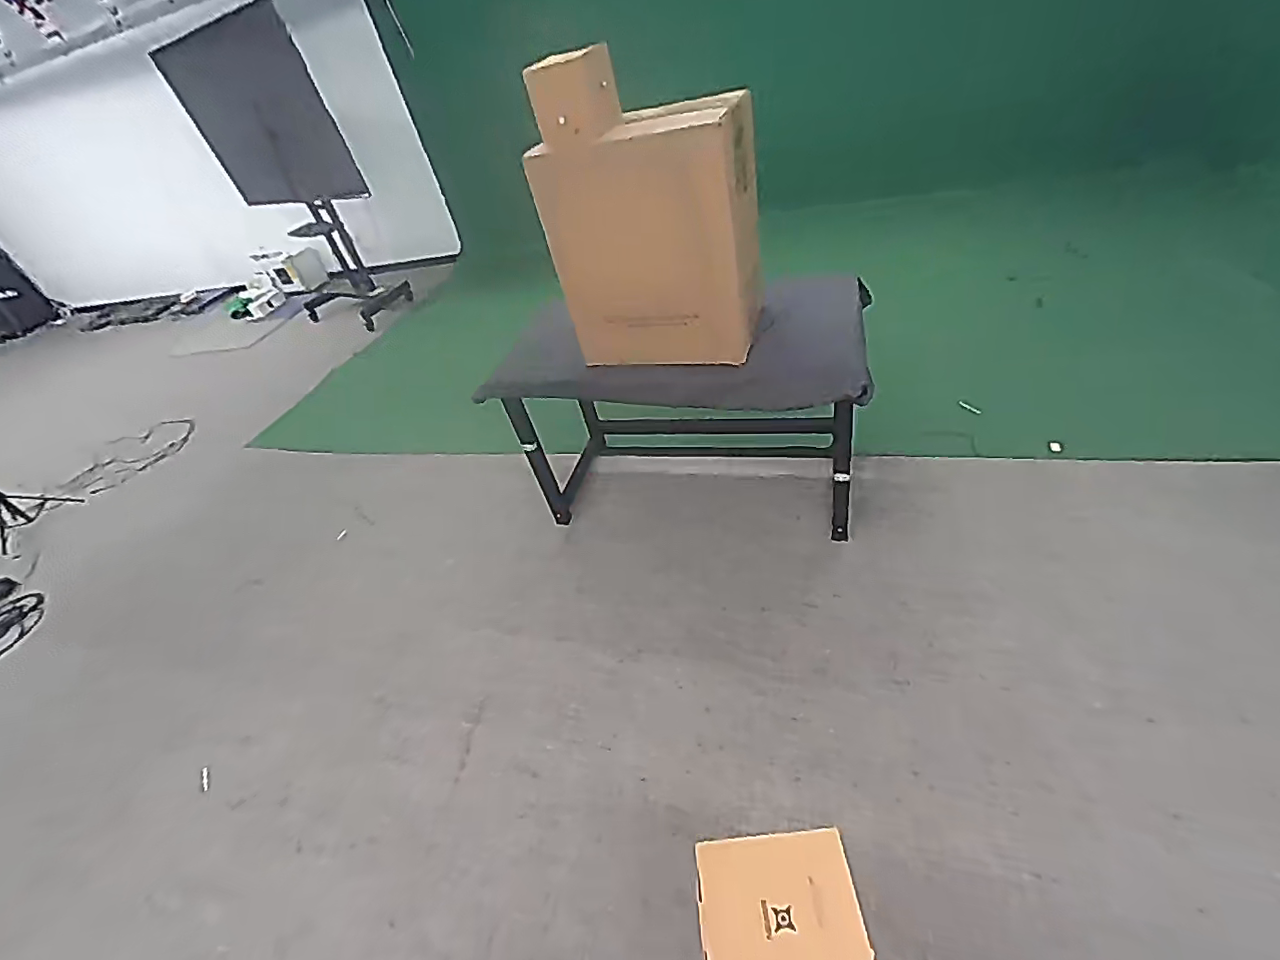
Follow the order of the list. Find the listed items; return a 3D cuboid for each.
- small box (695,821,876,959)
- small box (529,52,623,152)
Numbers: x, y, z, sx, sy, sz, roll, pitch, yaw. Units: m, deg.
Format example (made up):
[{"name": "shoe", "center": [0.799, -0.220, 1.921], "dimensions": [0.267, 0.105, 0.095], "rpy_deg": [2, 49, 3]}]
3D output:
[{"name": "small box", "center": [0.170, 0.538, 0.646], "dimensions": [0.179, 0.176, 0.168], "rpy_deg": [-9, 39, 4]}, {"name": "small box", "center": [-0.156, -0.979, 1.406], "dimensions": [0.168, 0.176, 0.179], "rpy_deg": [4, 46, 23]}]
